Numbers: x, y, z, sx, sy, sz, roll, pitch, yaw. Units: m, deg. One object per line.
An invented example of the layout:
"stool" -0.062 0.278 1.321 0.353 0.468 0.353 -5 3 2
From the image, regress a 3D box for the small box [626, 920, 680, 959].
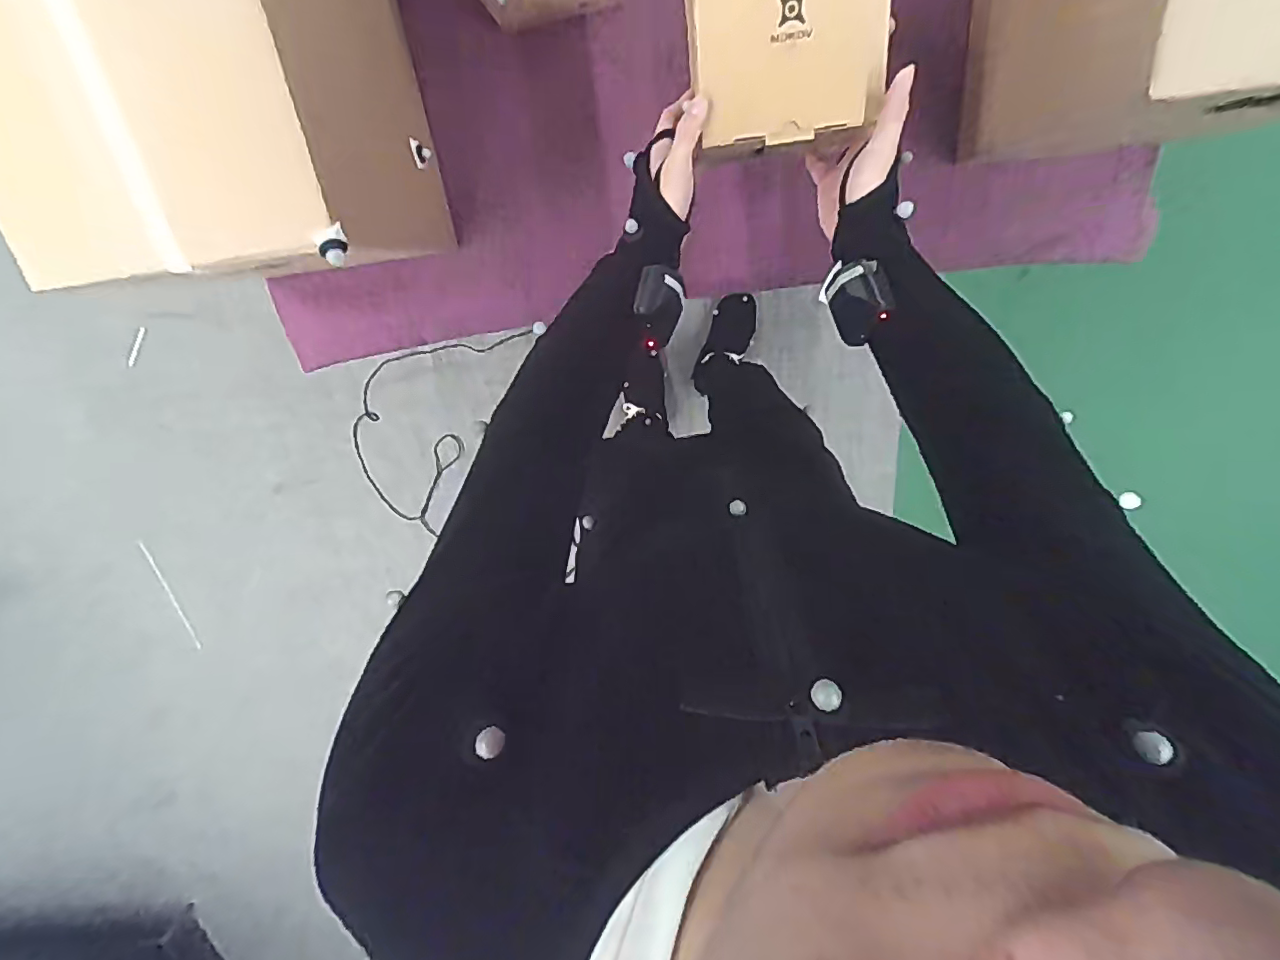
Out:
"small box" 0.044 1.601 1.796 0.168 0.176 0.179 -7 114 6

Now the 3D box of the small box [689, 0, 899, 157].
"small box" 0.137 -0.433 0.528 0.168 0.176 0.179 -5 116 6

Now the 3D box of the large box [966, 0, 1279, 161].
"large box" 0.531 -0.544 0.467 0.320 0.320 0.408 -5 113 6
